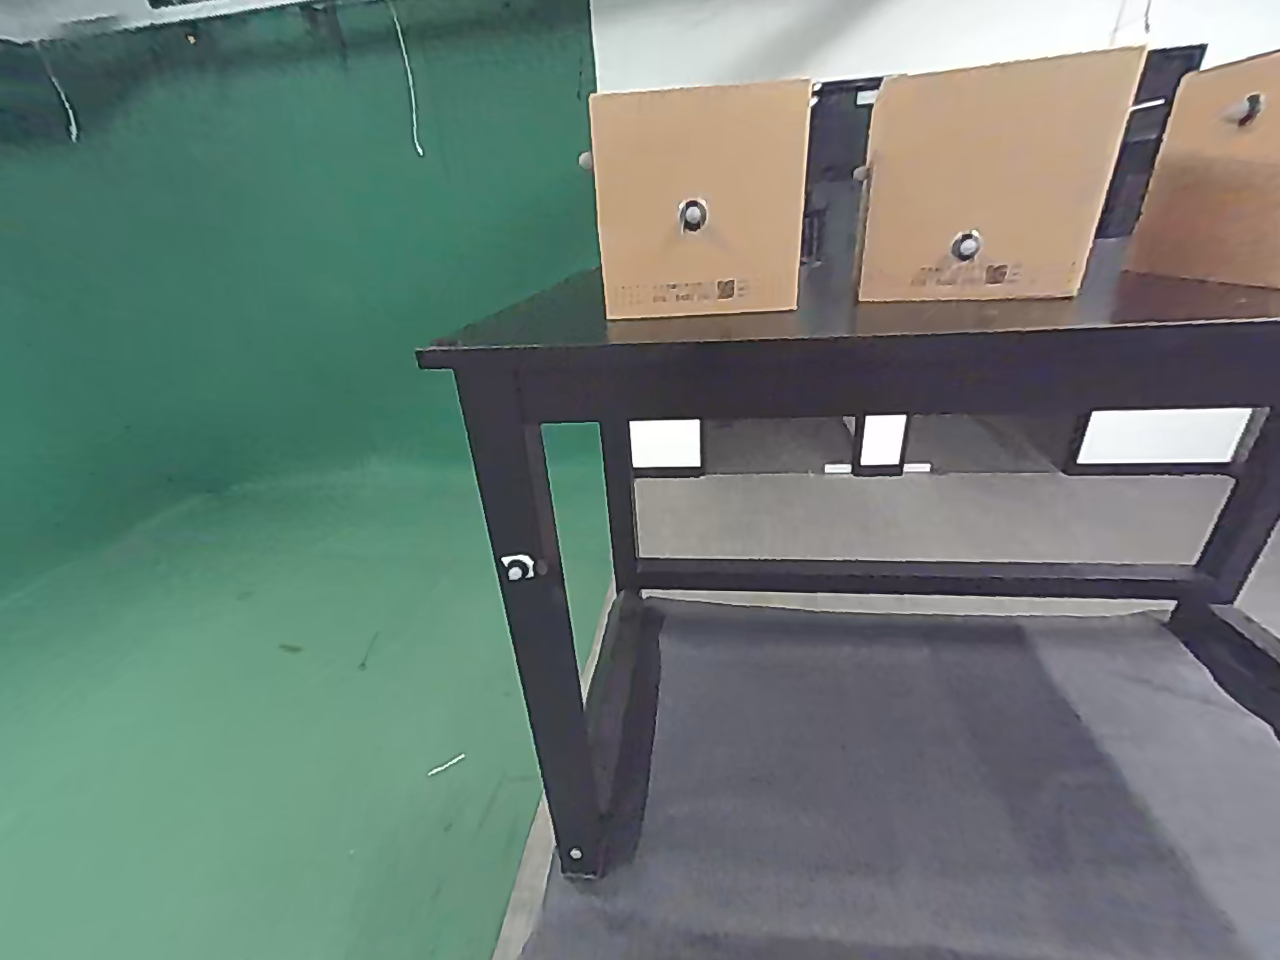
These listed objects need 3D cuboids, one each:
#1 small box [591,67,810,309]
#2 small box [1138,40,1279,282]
[{"bbox_3d":[0.055,-0.256,0.505,0.168,0.176,0.179,-1,26,4],"label":"small box"},{"bbox_3d":[0.563,-0.253,0.426,0.168,0.176,0.179,-3,25,4],"label":"small box"}]
